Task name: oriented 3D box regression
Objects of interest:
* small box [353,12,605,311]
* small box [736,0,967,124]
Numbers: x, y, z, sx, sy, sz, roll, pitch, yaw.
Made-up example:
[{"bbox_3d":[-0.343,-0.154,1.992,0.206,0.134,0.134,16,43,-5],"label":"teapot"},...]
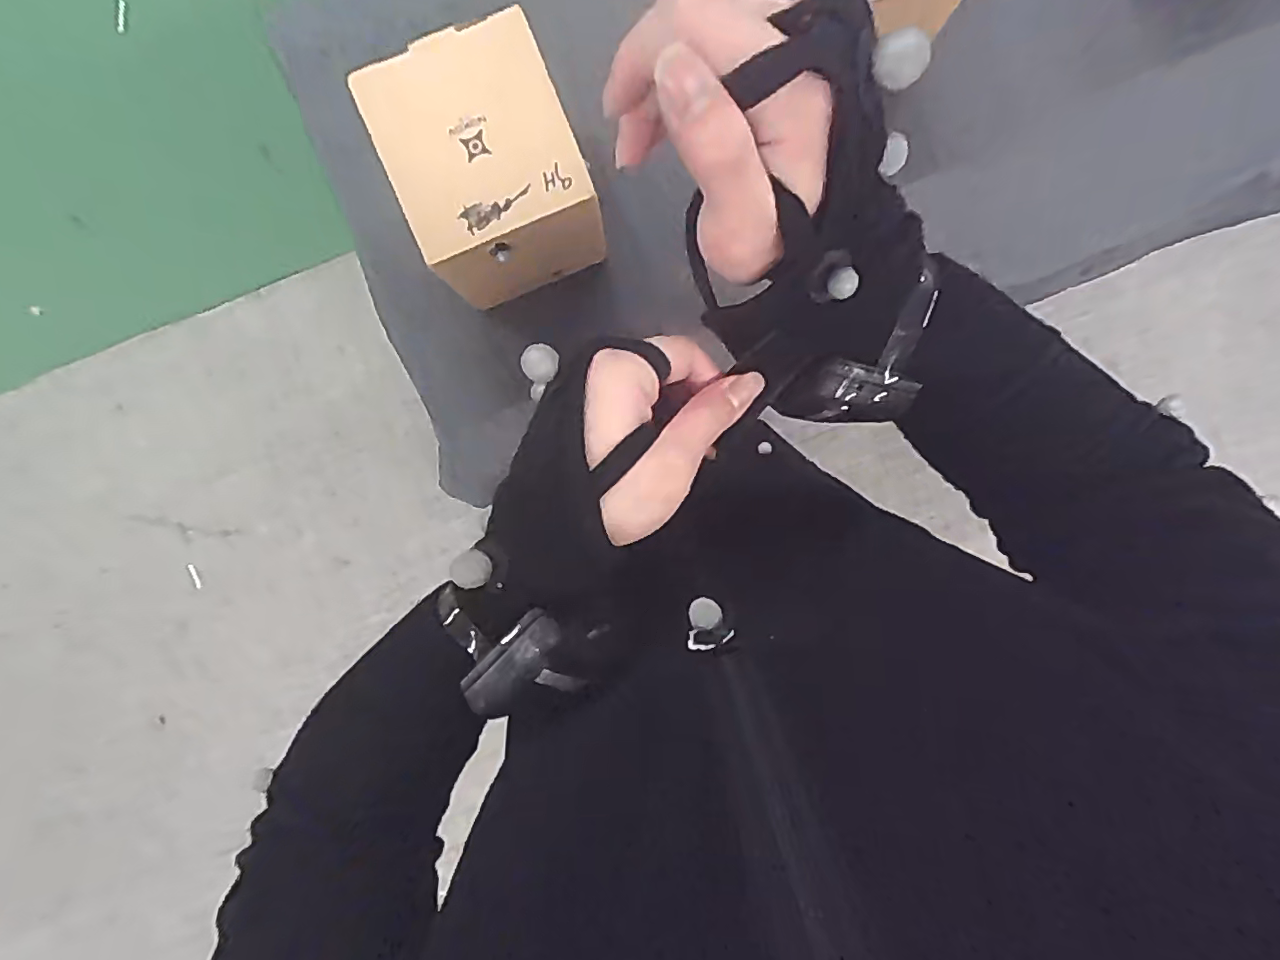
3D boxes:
[{"bbox_3d":[-0.144,-0.299,0.550,0.168,0.176,0.179,-23,93,2],"label":"small box"},{"bbox_3d":[0.206,-0.509,0.538,0.168,0.176,0.179,-23,96,3],"label":"small box"}]
